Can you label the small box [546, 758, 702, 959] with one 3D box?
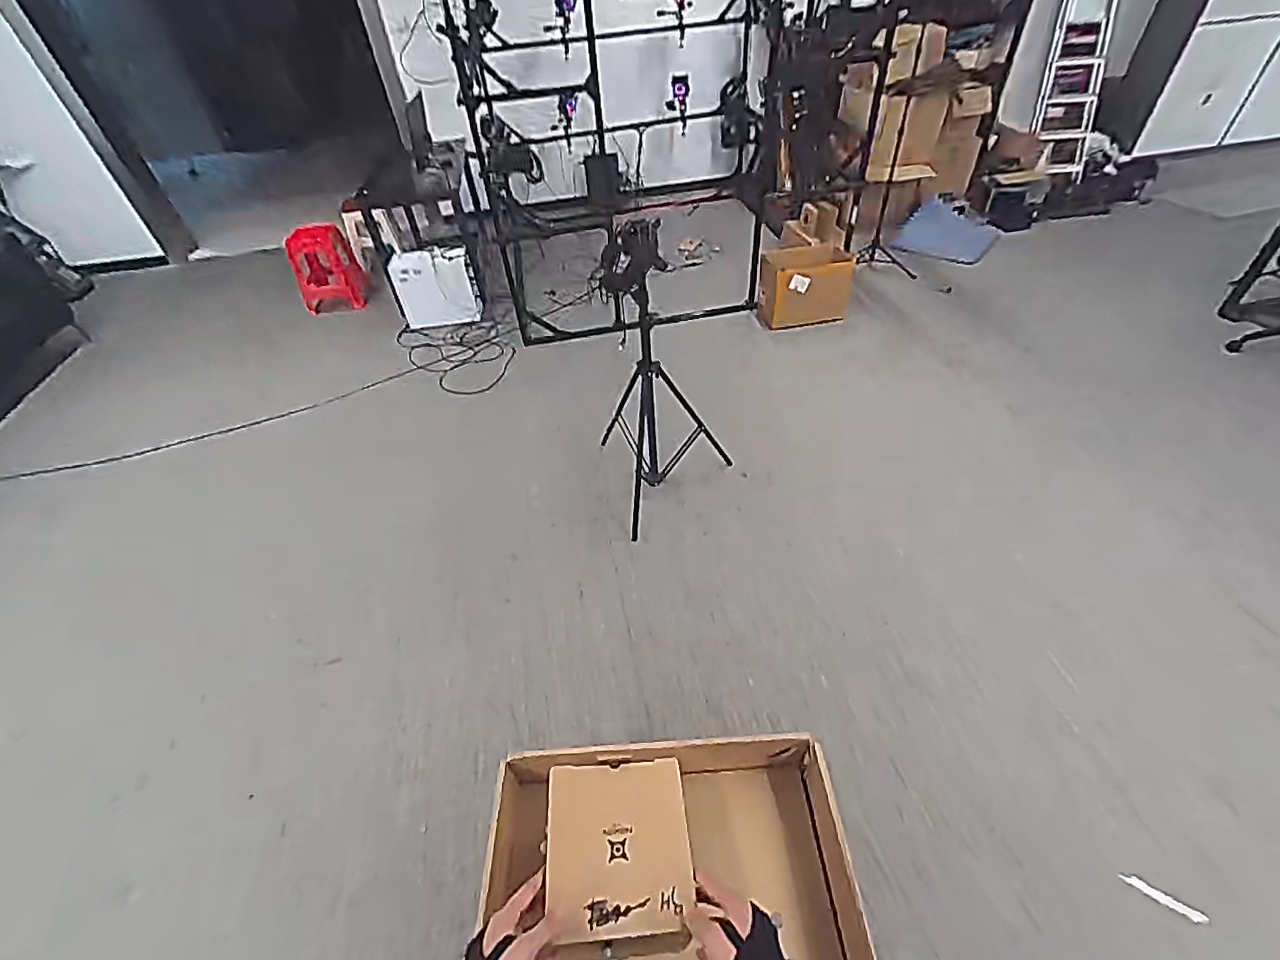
[{"bbox_3d":[-0.025,0.475,0.675,0.168,0.176,0.179,-2,43,-5],"label":"small box"}]
